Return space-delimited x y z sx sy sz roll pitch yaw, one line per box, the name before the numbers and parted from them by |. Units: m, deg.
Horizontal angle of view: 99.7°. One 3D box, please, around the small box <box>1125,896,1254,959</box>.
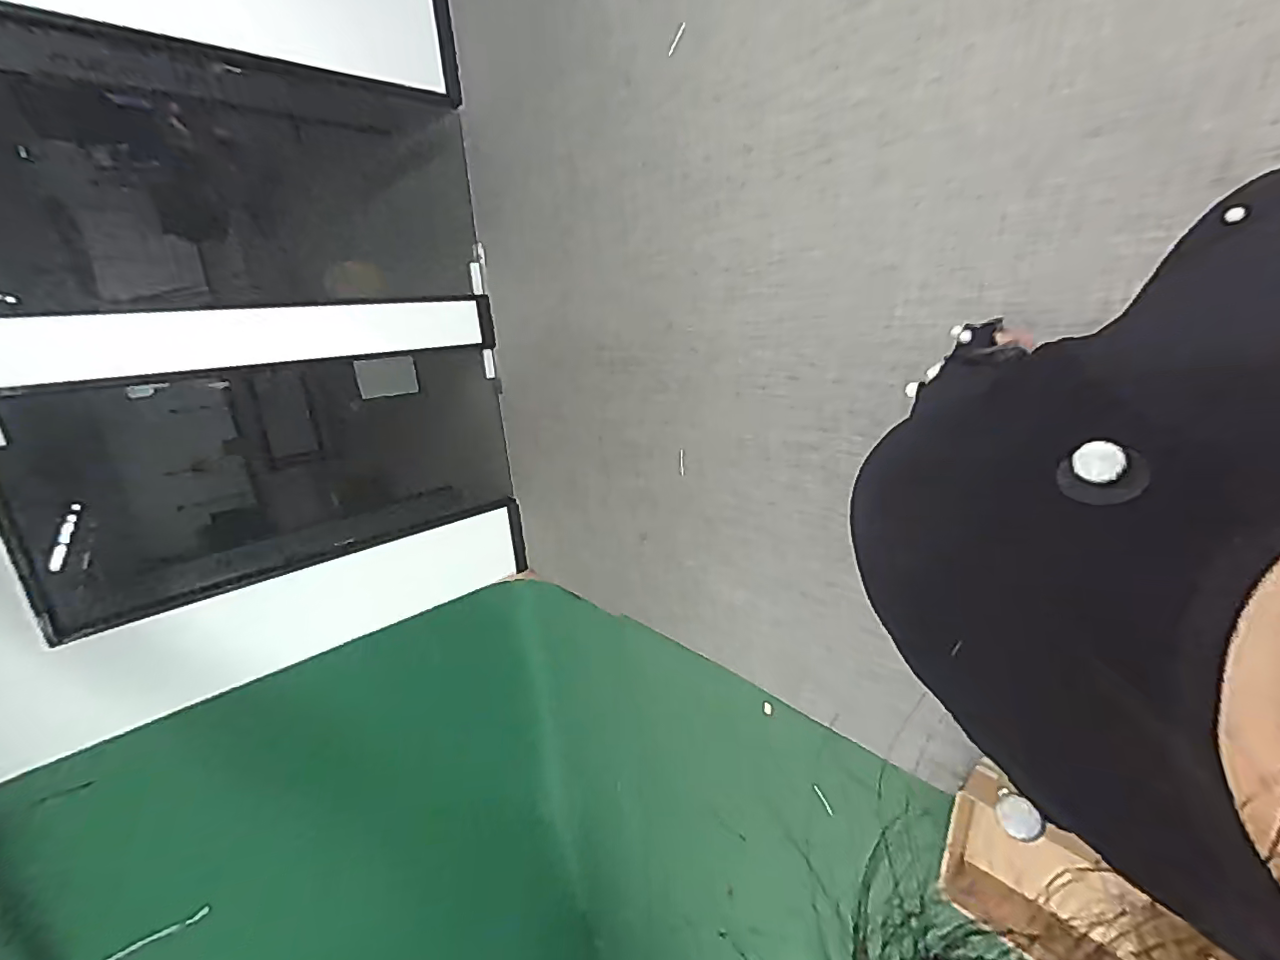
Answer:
small box | 1.203 1.083 1.189 0.179 0.176 0.168 18 116 44
